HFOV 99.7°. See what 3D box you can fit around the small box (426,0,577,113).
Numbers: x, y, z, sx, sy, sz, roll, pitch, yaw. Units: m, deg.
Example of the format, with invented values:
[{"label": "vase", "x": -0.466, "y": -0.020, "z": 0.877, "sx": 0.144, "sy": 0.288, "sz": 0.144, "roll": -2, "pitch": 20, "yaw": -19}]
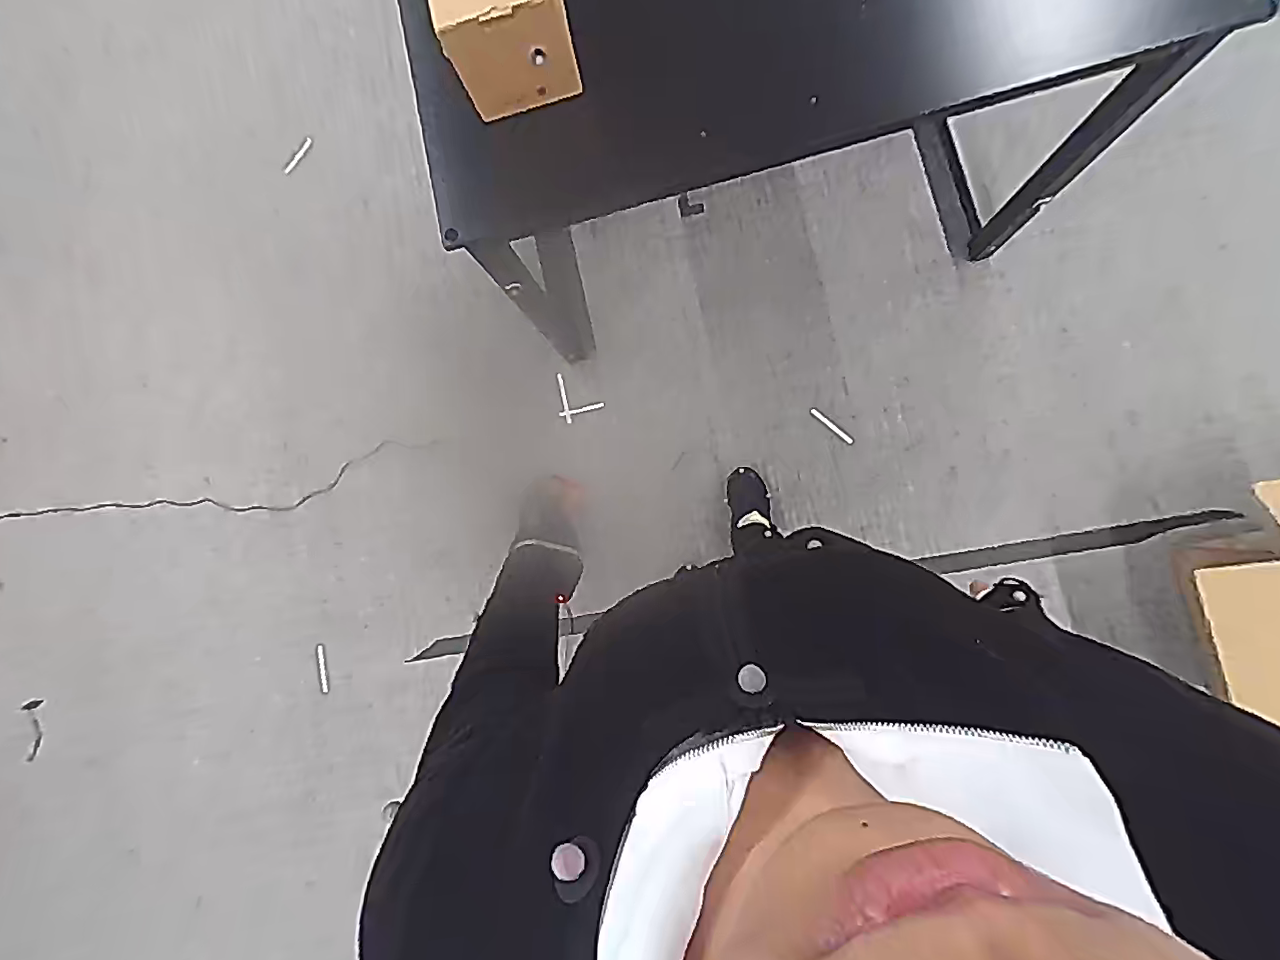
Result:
[{"label": "small box", "x": -0.198, "y": -0.674, "z": 0.781, "sx": 0.168, "sy": 0.176, "sz": 0.179, "roll": -13, "pitch": 84, "yaw": 5}]
